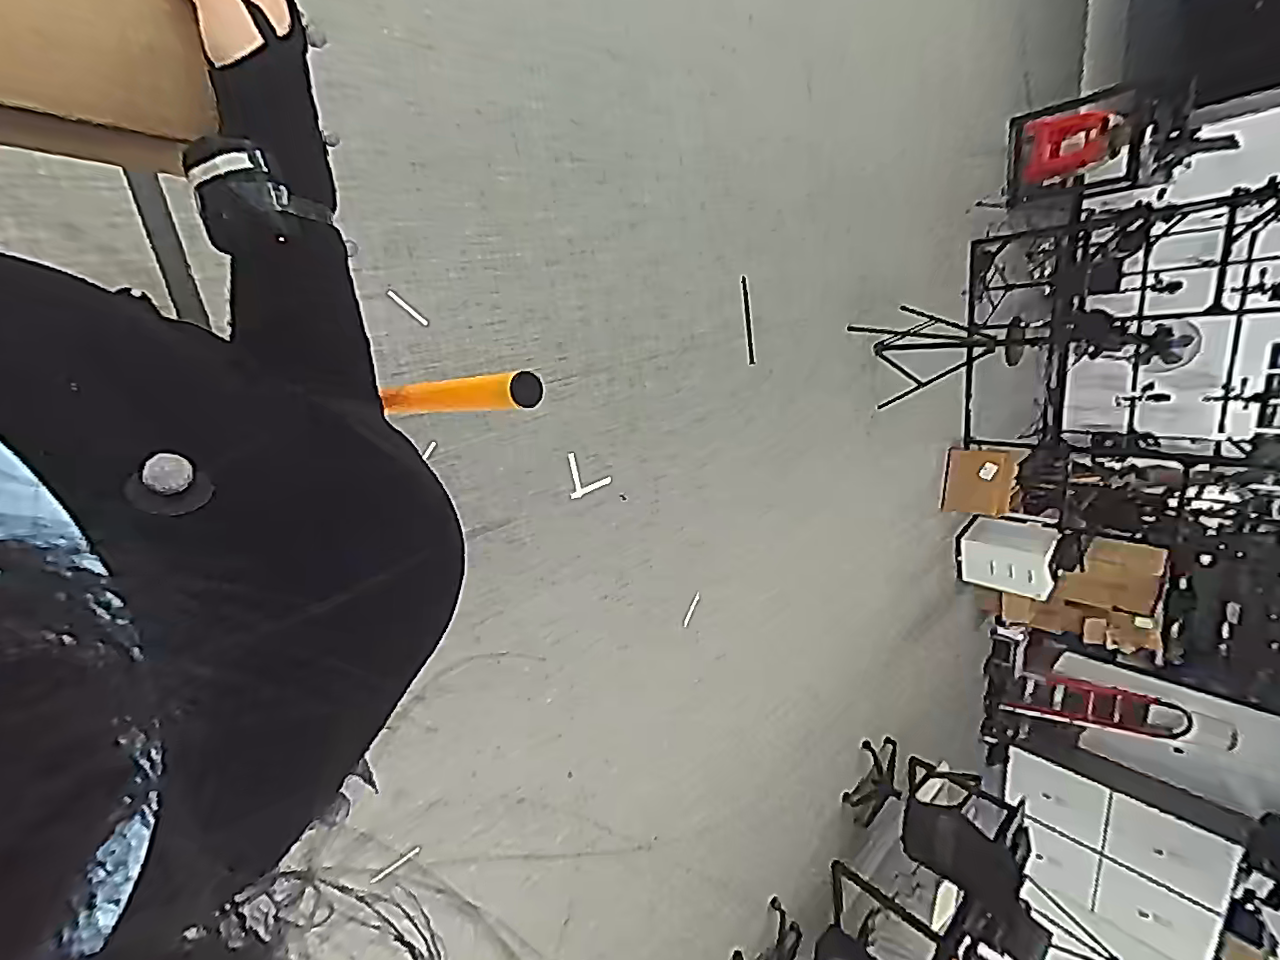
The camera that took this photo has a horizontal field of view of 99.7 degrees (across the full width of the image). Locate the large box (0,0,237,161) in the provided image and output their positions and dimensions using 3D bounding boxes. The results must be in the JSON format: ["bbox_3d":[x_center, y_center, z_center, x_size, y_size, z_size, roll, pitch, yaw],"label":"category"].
[{"bbox_3d":[-0.542,-0.425,0.345,0.408,0.320,0.320,-11,115,-40],"label":"large box"}]
